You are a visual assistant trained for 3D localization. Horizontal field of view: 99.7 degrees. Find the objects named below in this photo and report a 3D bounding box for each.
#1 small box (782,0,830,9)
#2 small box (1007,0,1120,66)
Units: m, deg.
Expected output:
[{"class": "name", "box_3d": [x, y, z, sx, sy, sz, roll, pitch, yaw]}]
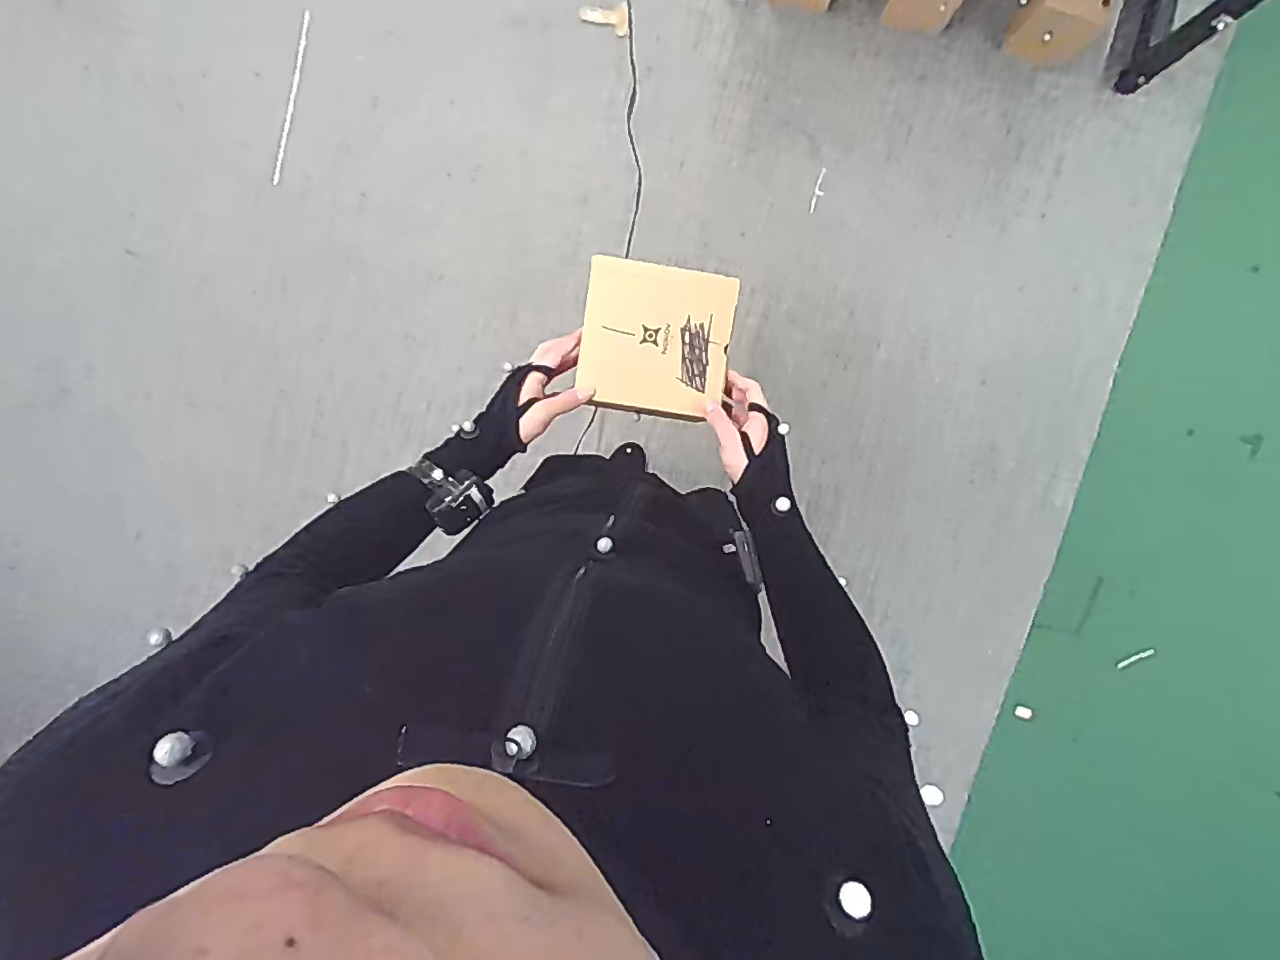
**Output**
[{"class": "small box", "box_3d": [0.453, -1.391, 1.415, 0.179, 0.176, 0.168, 14, 95, 0]}, {"class": "small box", "box_3d": [1.112, -1.237, 1.414, 0.179, 0.176, 0.168, 17, 95, 0]}]
